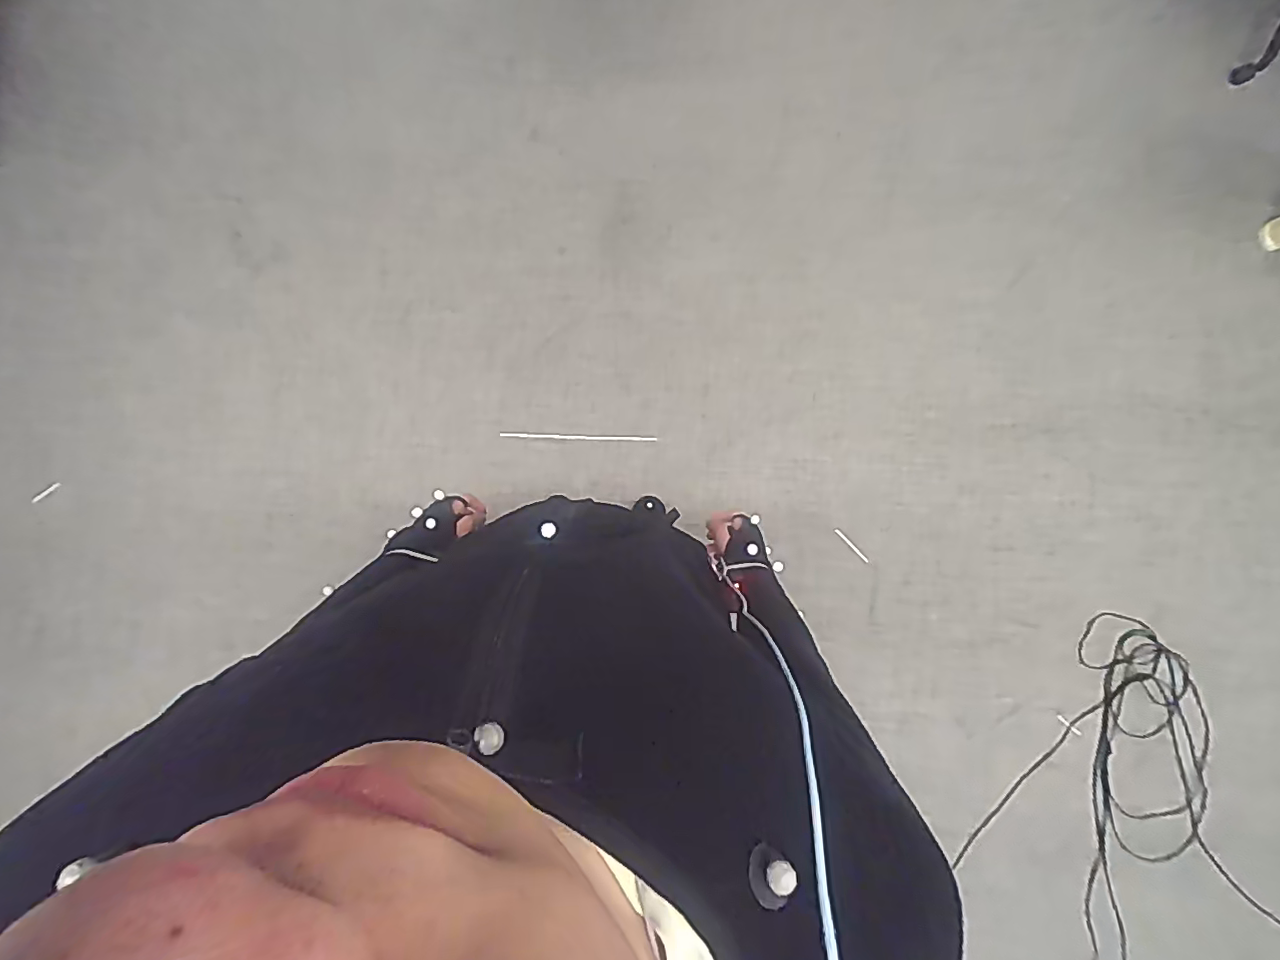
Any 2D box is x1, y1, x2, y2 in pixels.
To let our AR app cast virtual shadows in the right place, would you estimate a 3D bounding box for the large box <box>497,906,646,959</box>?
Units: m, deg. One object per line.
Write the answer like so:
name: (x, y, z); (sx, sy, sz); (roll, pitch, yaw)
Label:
large box: (-0.174, 1.424, 1.439); (0.408, 0.320, 0.320); (-6, 87, -2)
